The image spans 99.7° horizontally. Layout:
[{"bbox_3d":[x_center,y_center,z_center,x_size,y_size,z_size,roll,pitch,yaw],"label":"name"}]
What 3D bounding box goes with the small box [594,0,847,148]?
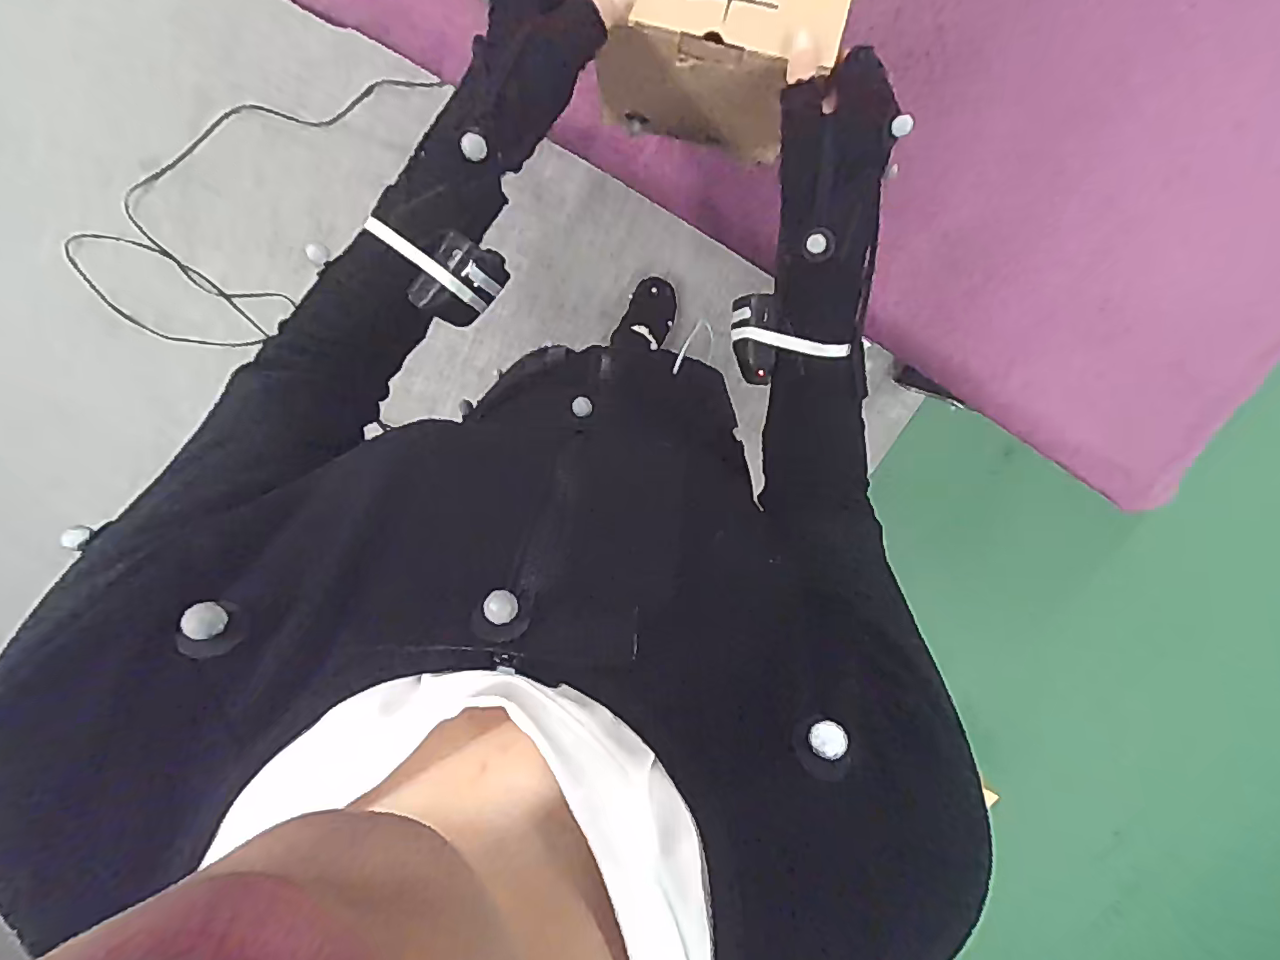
[{"bbox_3d":[0.068,-0.390,0.416,0.168,0.176,0.179,12,102,-3],"label":"small box"}]
